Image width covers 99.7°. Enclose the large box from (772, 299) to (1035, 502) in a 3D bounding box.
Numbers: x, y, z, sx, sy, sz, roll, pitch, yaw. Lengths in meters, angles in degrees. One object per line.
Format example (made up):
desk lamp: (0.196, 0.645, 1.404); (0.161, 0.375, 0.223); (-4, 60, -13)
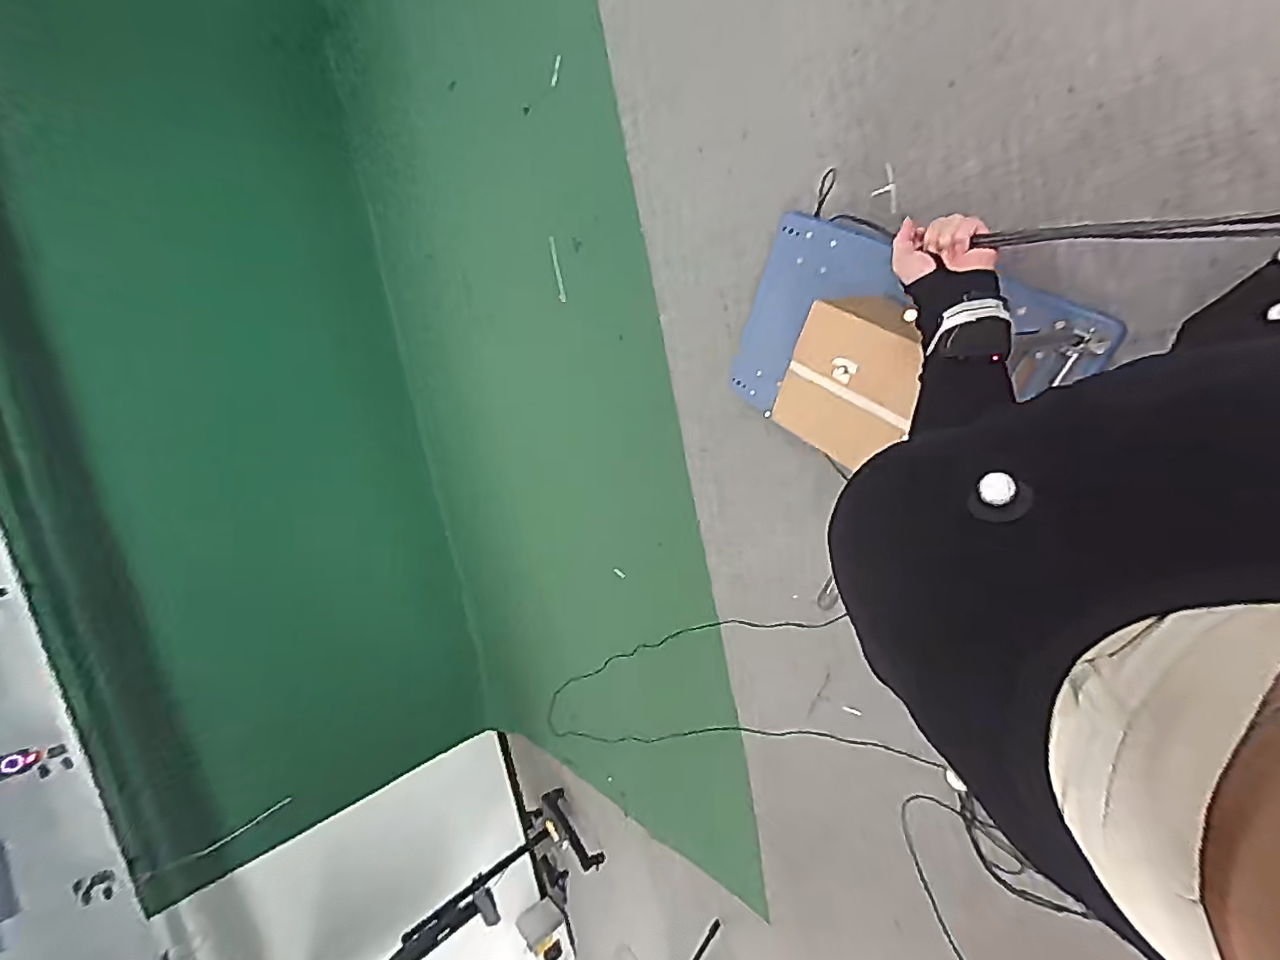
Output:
large box: (0.601, -0.209, 1.278); (0.408, 0.320, 0.320); (41, 131, 34)
